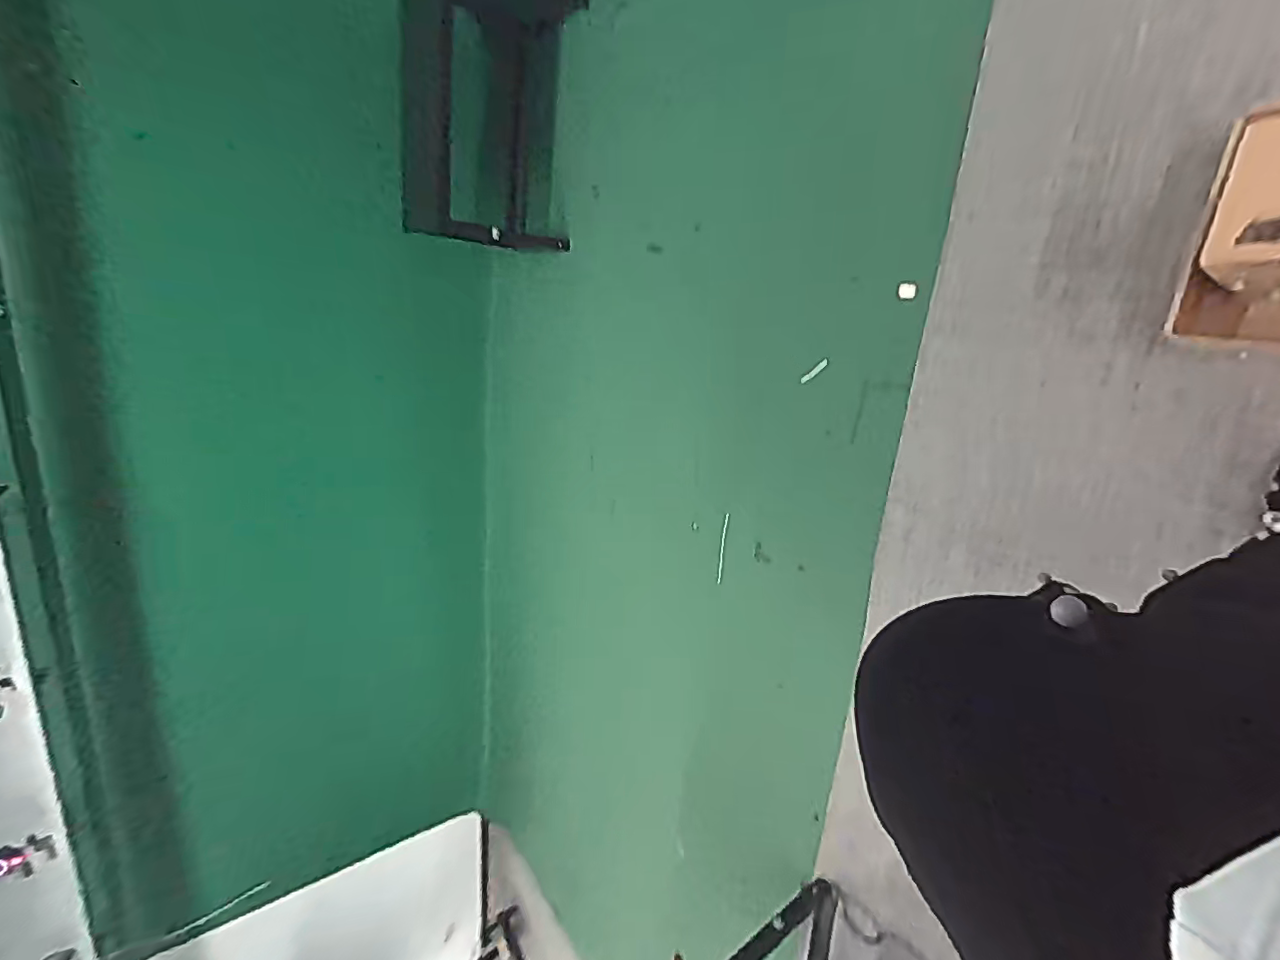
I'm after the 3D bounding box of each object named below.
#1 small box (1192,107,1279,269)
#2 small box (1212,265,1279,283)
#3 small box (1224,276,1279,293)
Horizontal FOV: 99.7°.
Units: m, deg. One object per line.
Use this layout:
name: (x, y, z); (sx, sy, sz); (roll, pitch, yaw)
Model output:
small box: (0.884, -0.379, 0.714); (0.168, 0.176, 0.179); (23, 113, 47)
small box: (1.013, -0.399, 0.814); (0.168, 0.176, 0.179); (26, 116, 46)
small box: (1.139, -0.418, 0.914); (0.168, 0.176, 0.179); (26, 115, 47)
